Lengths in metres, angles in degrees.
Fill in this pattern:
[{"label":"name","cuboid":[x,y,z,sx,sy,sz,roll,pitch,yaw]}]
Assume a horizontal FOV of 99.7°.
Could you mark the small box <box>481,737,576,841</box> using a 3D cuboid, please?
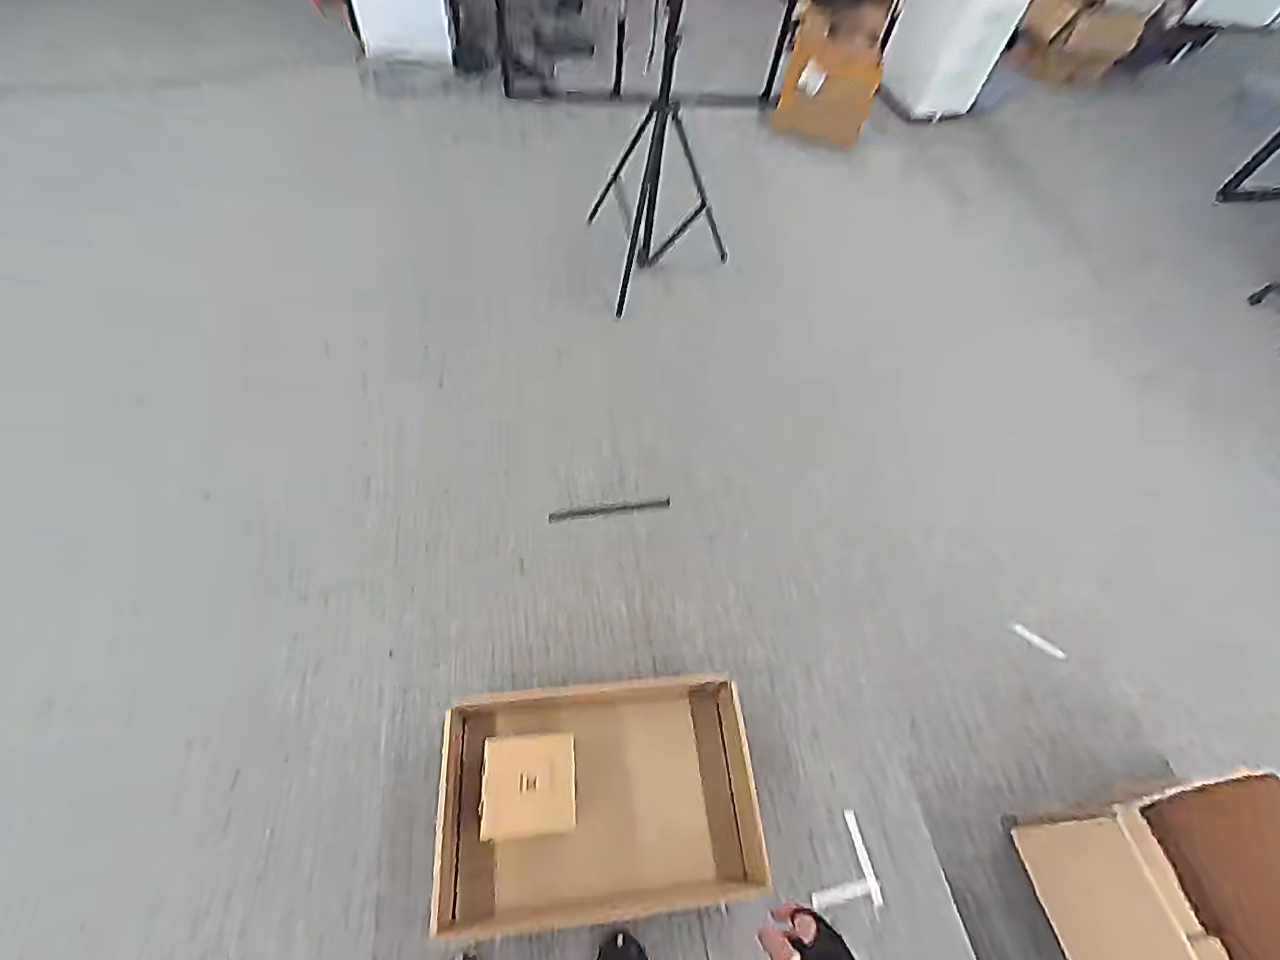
[{"label":"small box","cuboid":[-0.223,0.632,1.108,0.179,0.176,0.168,-1,60,-9]}]
